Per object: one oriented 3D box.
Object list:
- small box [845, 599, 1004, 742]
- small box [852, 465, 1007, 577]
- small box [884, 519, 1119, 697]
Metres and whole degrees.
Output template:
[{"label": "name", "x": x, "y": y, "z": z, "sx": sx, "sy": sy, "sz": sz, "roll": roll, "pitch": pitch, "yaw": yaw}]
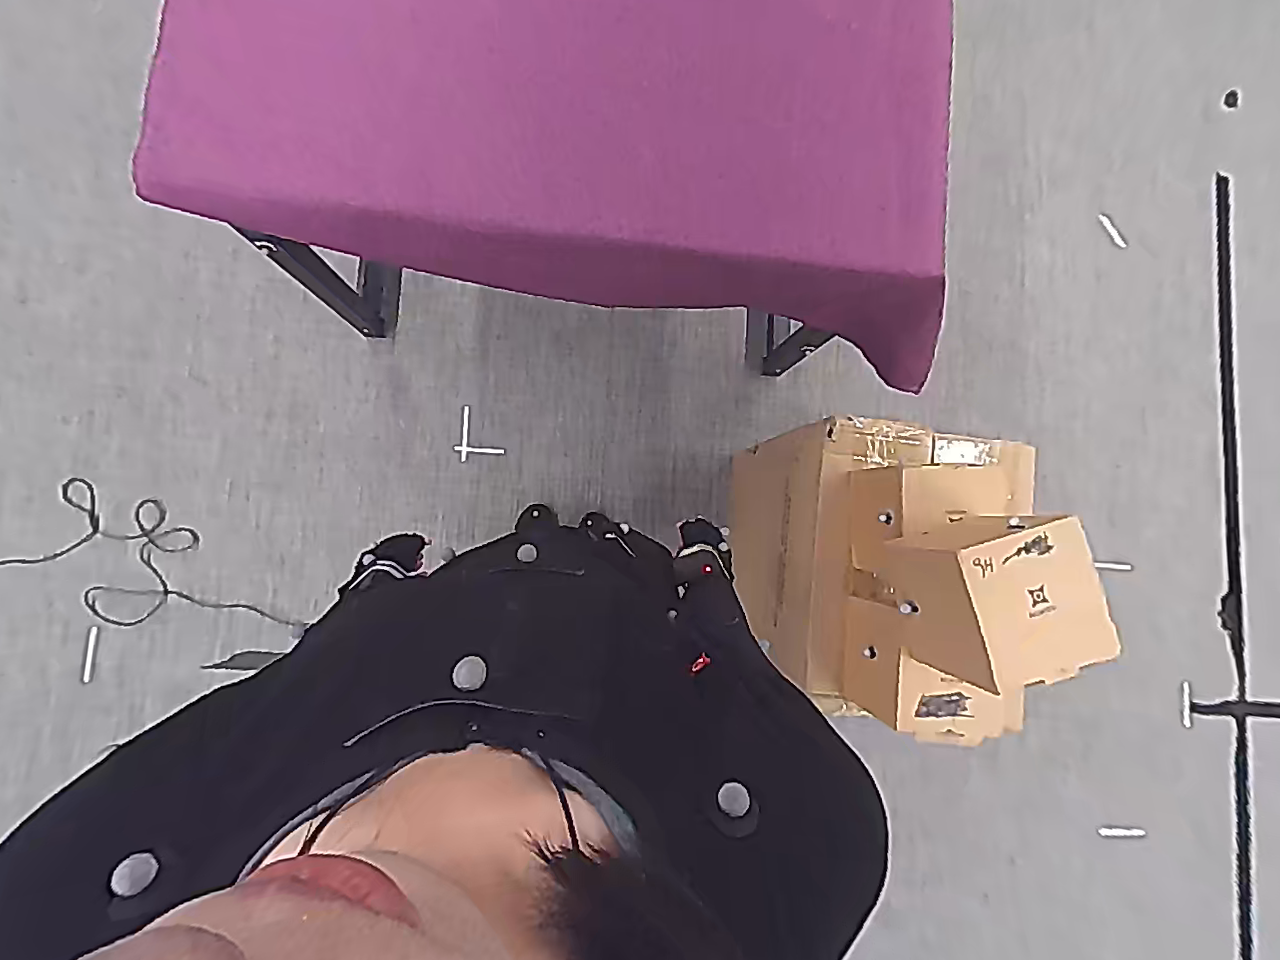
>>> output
[{"label": "small box", "x": 0.442, "y": 0.293, "z": 0.860, "sx": 0.168, "sy": 0.176, "sz": 0.179, "roll": 6, "pitch": 83, "yaw": -5}, {"label": "small box", "x": 0.460, "y": 0.071, "z": 0.882, "sx": 0.168, "sy": 0.176, "sz": 0.179, "roll": 1, "pitch": 87, "yaw": -5}, {"label": "small box", "x": 0.457, "y": 0.153, "z": 0.710, "sx": 0.168, "sy": 0.176, "sz": 0.179, "roll": -15, "pitch": 87, "yaw": -7}]
